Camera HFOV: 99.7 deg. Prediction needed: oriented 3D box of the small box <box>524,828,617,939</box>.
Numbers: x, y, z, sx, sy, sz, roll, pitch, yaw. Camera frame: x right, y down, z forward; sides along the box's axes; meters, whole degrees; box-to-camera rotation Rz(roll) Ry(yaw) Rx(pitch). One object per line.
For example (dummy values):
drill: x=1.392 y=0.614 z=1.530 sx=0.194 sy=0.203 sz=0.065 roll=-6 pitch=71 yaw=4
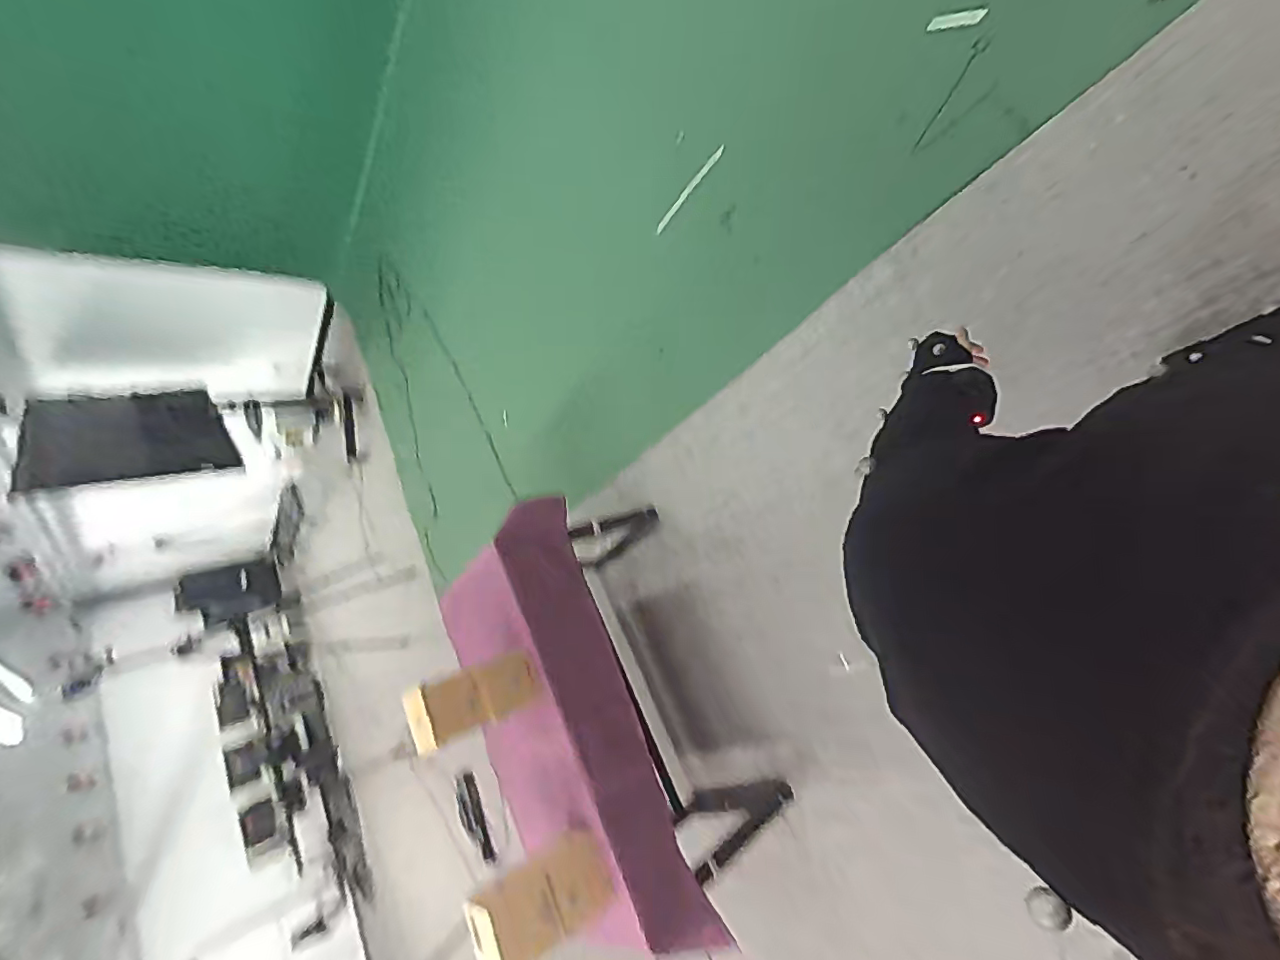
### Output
small box: x=-0.190 y=1.105 z=1.496 sx=0.168 sy=0.176 sz=0.179 roll=-36 pitch=71 yaw=45

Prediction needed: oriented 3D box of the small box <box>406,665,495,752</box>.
small box: x=-0.534 y=0.644 z=1.528 sx=0.179 sy=0.176 sz=0.168 roll=-38 pitch=70 yaw=43

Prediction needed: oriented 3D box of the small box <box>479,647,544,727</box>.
small box: x=-0.409 y=0.623 z=1.632 sx=0.179 sy=0.176 sz=0.168 roll=-39 pitch=69 yaw=44
